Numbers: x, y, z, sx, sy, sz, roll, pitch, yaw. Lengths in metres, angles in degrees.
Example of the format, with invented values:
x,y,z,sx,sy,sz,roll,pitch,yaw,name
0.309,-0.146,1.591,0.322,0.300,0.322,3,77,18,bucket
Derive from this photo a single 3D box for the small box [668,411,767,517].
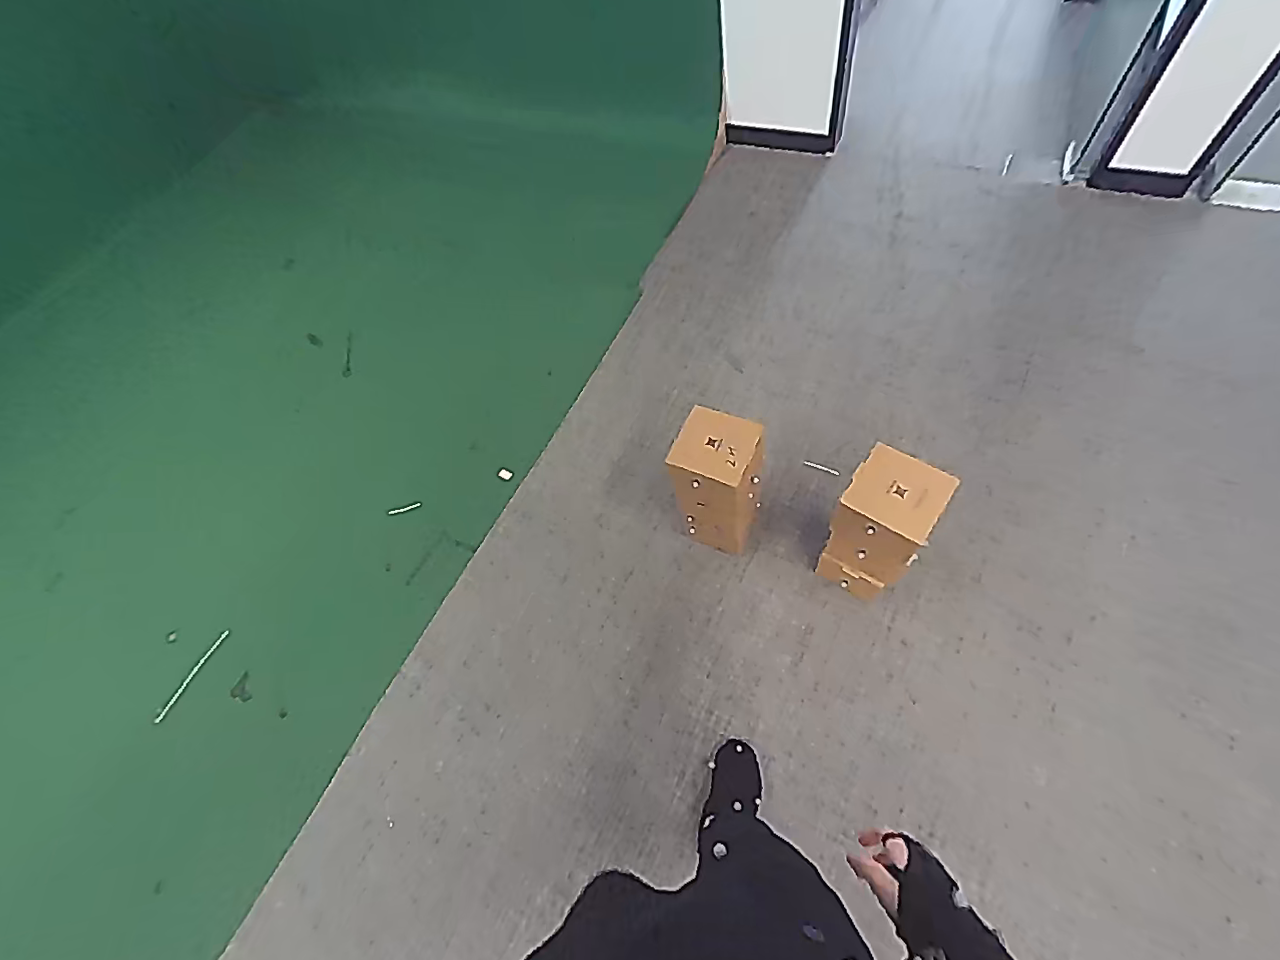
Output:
x,y,z,sx,sy,sz,roll,pitch,yaw,name
0.186,-0.032,1.273,0.179,0.176,0.168,20,70,20,small box

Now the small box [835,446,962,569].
x,y,z,sx,sy,sz,roll,pitch,yaw,name
0.537,0.065,1.150,0.179,0.176,0.168,32,75,25,small box

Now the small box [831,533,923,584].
x,y,z,sx,sy,sz,roll,pitch,yaw,name
0.578,0.131,1.293,0.179,0.176,0.168,27,72,24,small box

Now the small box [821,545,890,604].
x,y,z,sx,sy,sz,roll,pitch,yaw,name
0.597,0.206,1.436,0.168,0.176,0.179,29,74,23,small box

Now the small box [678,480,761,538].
x,y,z,sx,sy,sz,roll,pitch,yaw,name
0.217,0.030,1.423,0.168,0.176,0.179,19,68,20,small box
